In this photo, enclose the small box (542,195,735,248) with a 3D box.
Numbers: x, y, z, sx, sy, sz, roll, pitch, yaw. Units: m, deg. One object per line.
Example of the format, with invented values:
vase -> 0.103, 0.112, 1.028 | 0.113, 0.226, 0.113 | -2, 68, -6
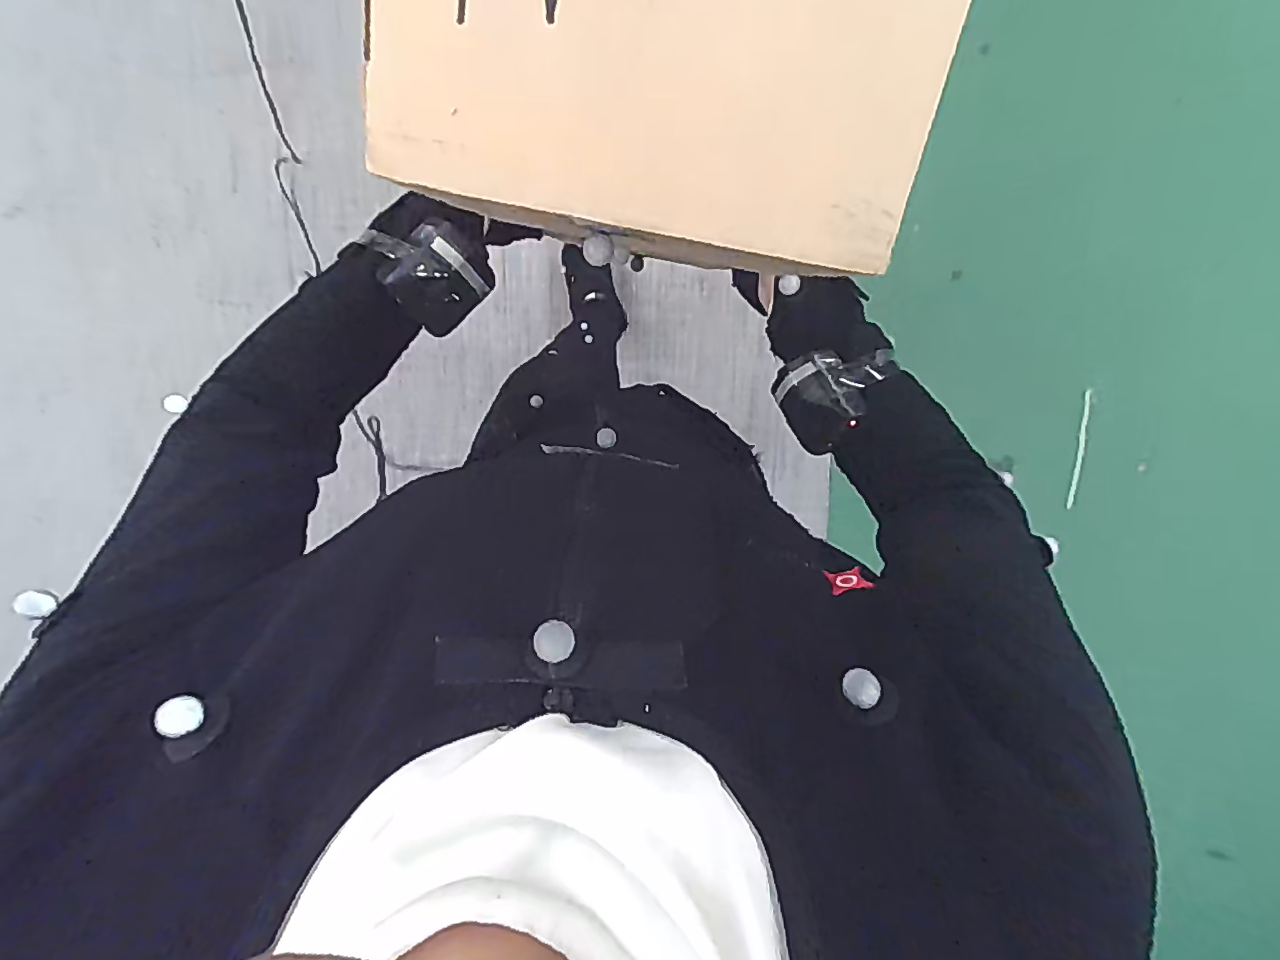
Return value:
small box -> 0.011, -0.330, 0.527 | 0.179, 0.176, 0.168 | 9, 112, -4
